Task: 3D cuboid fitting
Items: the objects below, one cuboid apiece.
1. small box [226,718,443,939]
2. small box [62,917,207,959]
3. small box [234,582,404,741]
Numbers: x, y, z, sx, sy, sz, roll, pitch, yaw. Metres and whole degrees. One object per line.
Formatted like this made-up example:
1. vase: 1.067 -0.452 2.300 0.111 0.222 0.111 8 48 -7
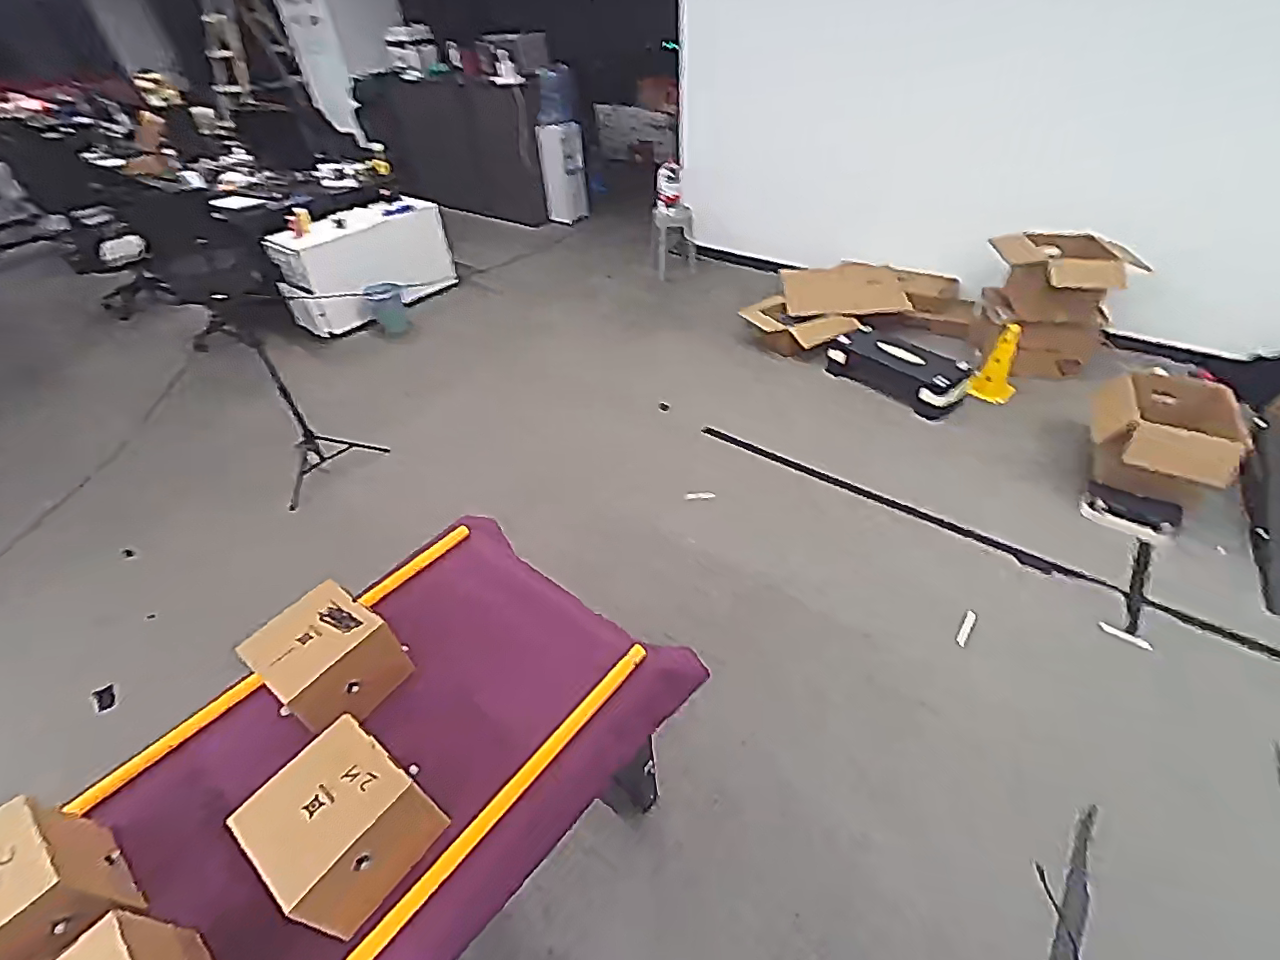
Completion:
1. small box: -0.408 0.481 0.749 0.168 0.176 0.179 24 49 29
2. small box: -0.587 0.640 0.591 0.179 0.176 0.168 26 51 30
3. small box: -0.539 0.320 0.939 0.168 0.176 0.179 24 51 27
